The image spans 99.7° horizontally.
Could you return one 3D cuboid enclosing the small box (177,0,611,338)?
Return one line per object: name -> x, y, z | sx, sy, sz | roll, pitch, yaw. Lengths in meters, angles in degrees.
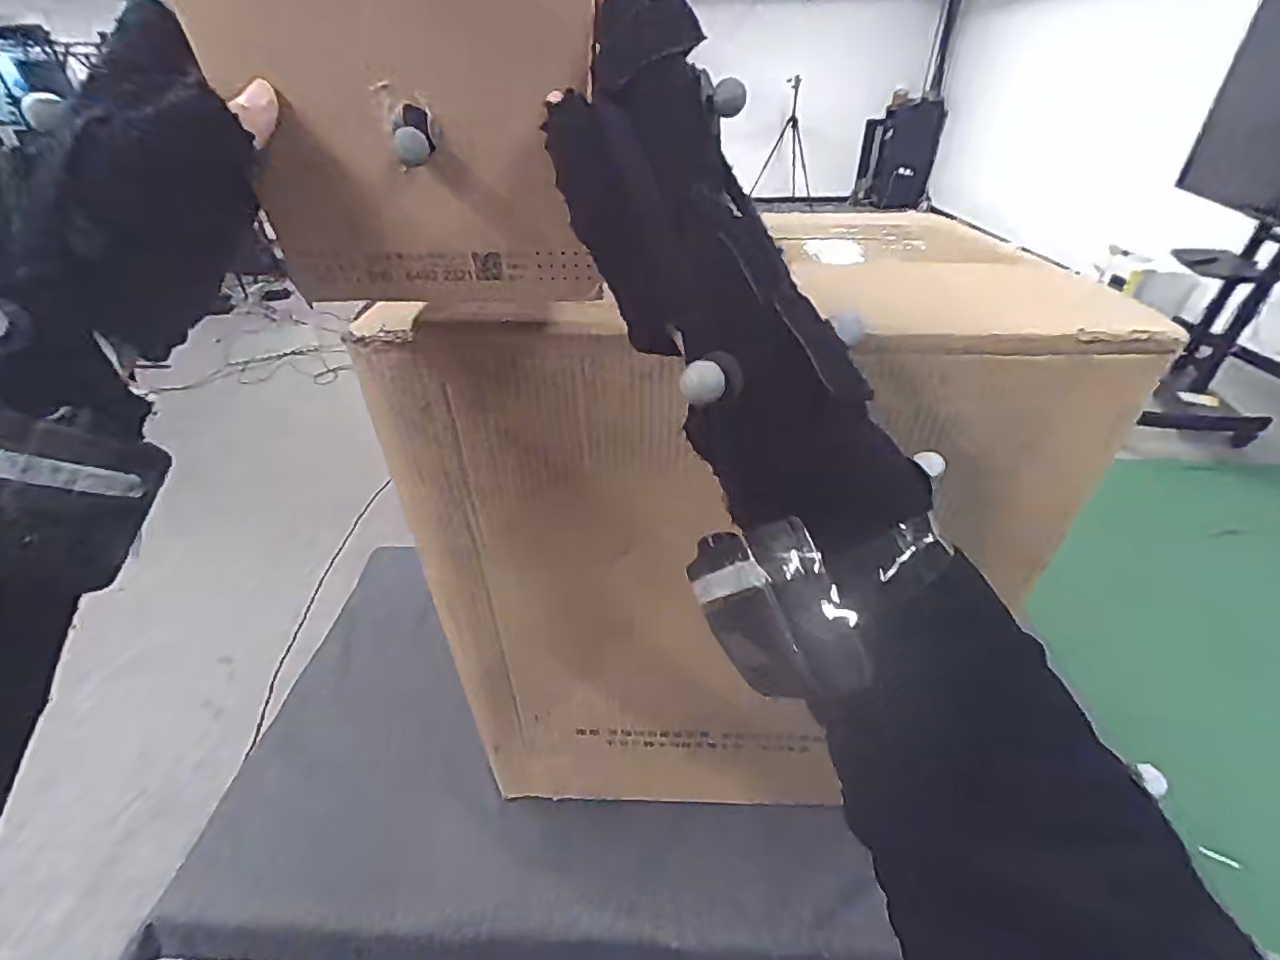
small box -> -0.104, -0.196, 0.327 | 0.168, 0.176, 0.179 | -2, 42, -1
